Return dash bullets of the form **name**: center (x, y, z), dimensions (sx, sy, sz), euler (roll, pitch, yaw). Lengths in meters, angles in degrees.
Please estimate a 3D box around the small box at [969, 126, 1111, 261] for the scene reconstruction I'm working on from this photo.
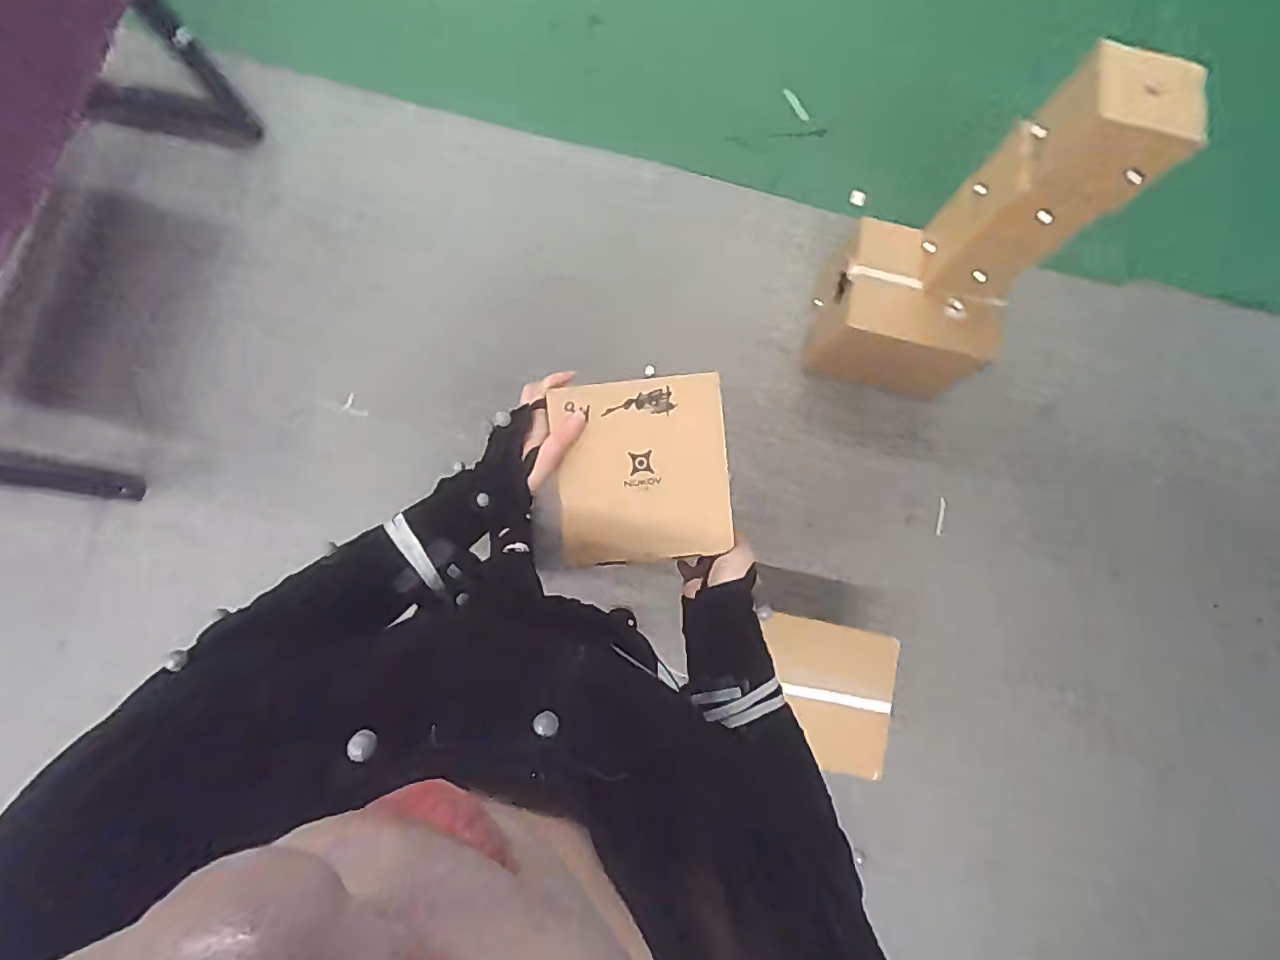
- **small box**: center (0.830, -0.586, 1.128), dimensions (0.179, 0.176, 0.168), euler (13, 77, -1)

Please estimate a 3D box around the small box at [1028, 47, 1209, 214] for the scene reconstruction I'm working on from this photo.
- **small box**: center (0.847, -0.612, 0.967), dimensions (0.179, 0.176, 0.168), euler (14, 77, 0)

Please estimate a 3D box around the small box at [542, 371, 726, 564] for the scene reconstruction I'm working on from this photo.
- **small box**: center (-0.001, -0.020, 0.598), dimensions (0.168, 0.176, 0.179), euler (-6, 96, 2)

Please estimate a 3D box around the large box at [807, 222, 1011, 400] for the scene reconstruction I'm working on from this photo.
- **large box**: center (0.729, -0.452, 1.513), dimensions (0.408, 0.320, 0.320), euler (13, 80, -3)
